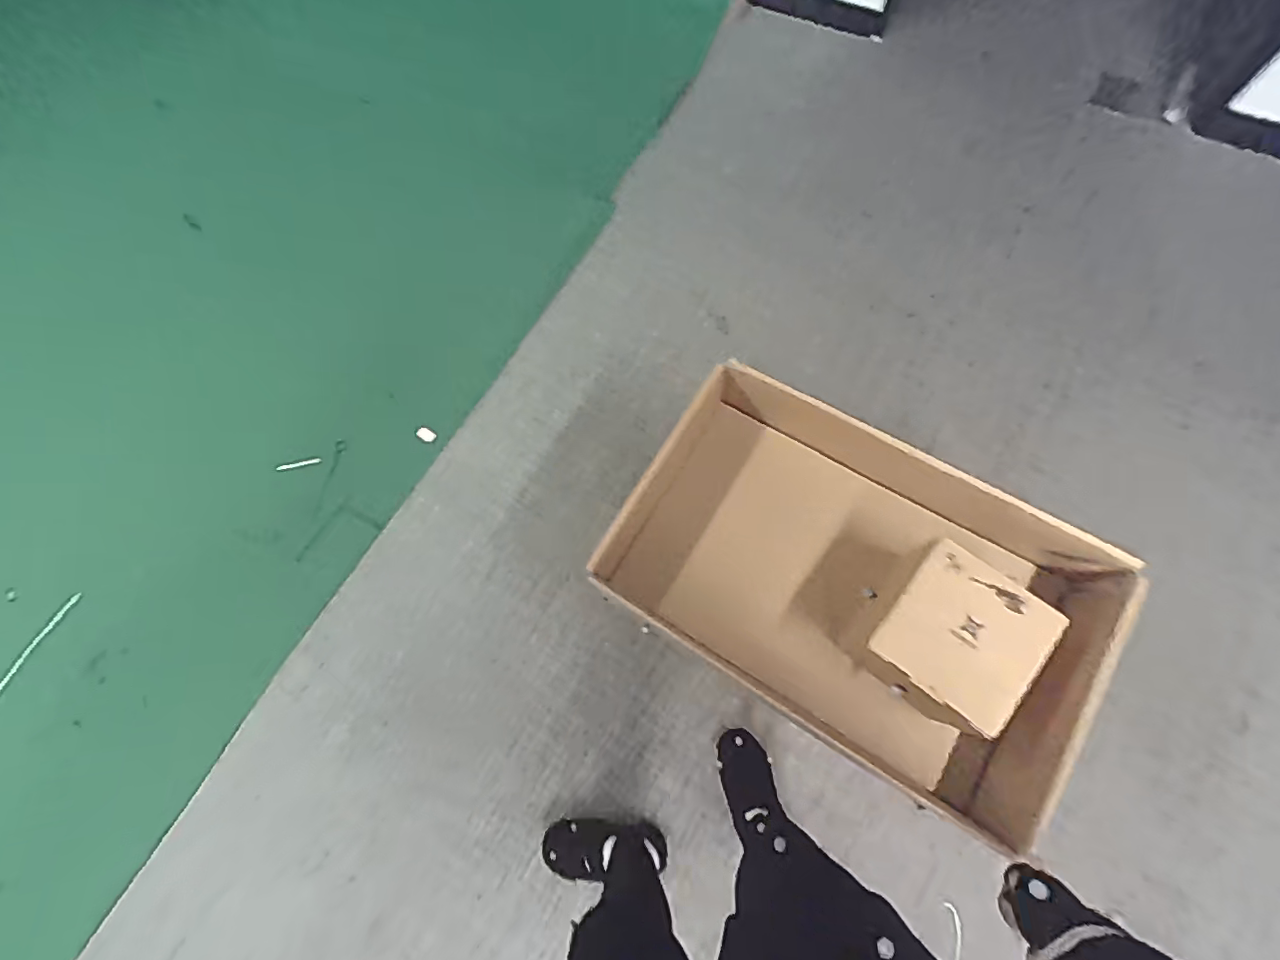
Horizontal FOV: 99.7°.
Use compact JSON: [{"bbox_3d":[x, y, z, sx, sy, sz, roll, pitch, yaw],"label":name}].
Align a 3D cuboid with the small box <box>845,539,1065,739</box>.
[{"bbox_3d":[0.400,0.207,0.728,0.168,0.176,0.179,38,82,14],"label":"small box"}]
